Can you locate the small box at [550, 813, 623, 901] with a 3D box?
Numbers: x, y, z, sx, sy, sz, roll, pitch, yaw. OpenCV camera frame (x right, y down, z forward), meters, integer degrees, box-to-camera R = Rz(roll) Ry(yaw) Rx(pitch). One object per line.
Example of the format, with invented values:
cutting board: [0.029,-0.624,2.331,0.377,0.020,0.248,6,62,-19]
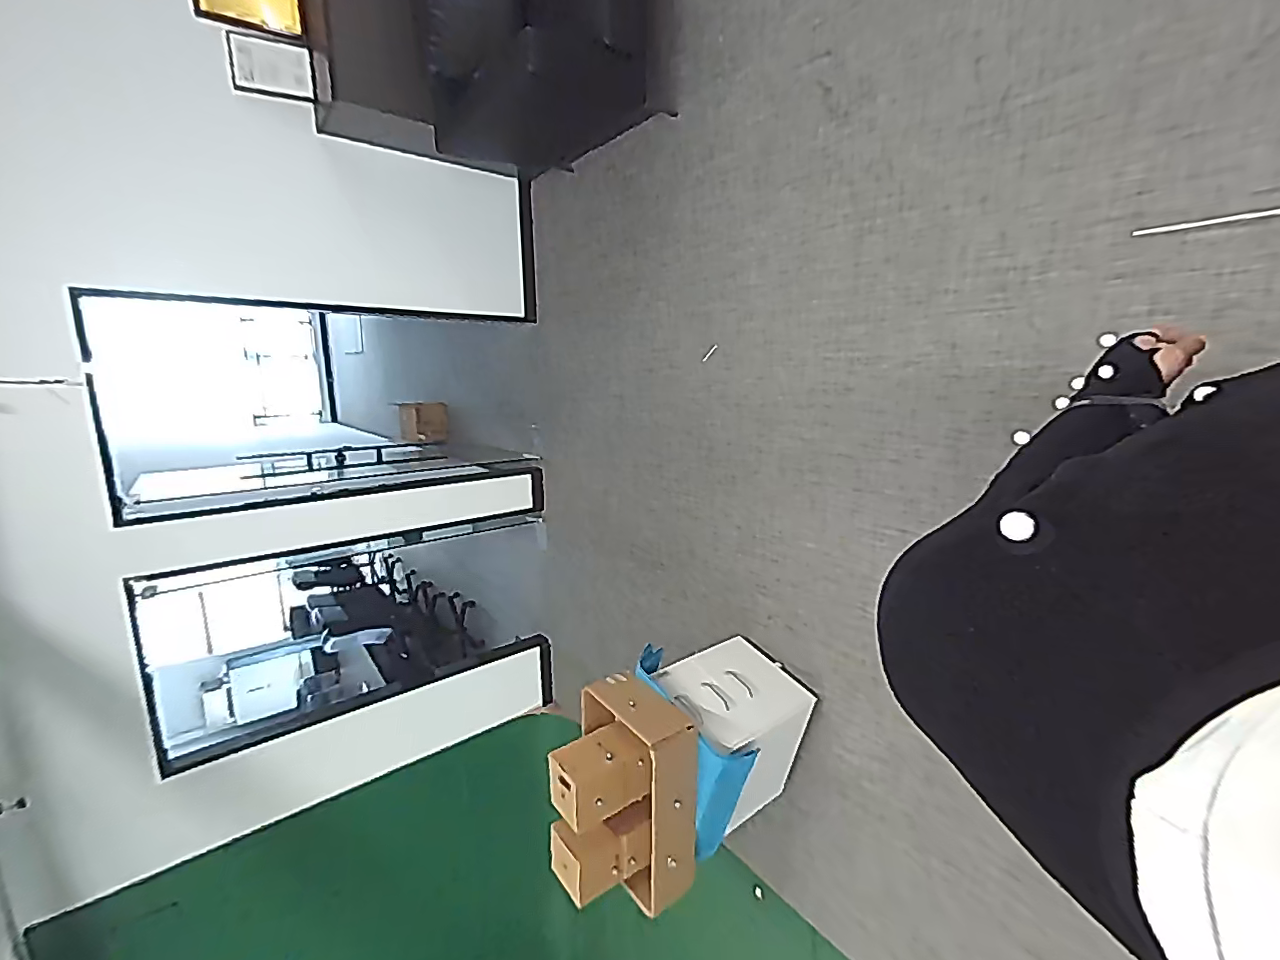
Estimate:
small box: [-0.172,1.171,1.724,0.179,0.176,0.168,15,108,51]

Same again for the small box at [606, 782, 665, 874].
small box: [-0.038,1.154,1.816,0.179,0.176,0.168,16,109,52]

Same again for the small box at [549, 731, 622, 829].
small box: [-0.166,0.912,1.665,0.168,0.176,0.179,15,110,52]
